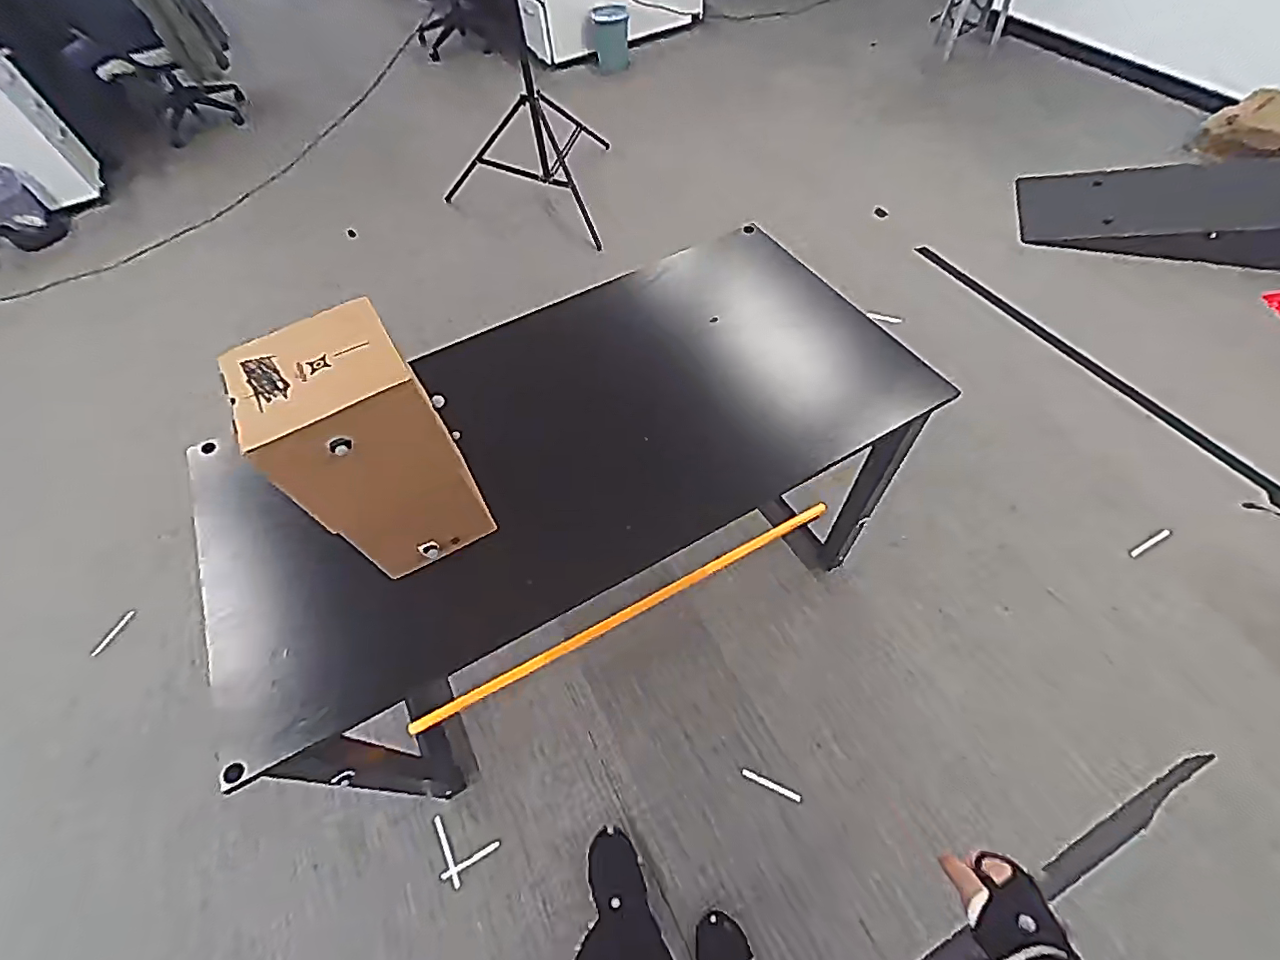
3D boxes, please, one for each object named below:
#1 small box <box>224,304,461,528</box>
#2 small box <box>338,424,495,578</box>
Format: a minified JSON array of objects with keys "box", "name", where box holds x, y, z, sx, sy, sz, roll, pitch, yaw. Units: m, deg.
[{"box":[-0.348,-0.071,0.654,0.179,0.176,0.168,-29,59,-14],"name":"small box"},{"box":[-0.338,0.013,0.795,0.168,0.176,0.179,-28,60,-12],"name":"small box"}]
